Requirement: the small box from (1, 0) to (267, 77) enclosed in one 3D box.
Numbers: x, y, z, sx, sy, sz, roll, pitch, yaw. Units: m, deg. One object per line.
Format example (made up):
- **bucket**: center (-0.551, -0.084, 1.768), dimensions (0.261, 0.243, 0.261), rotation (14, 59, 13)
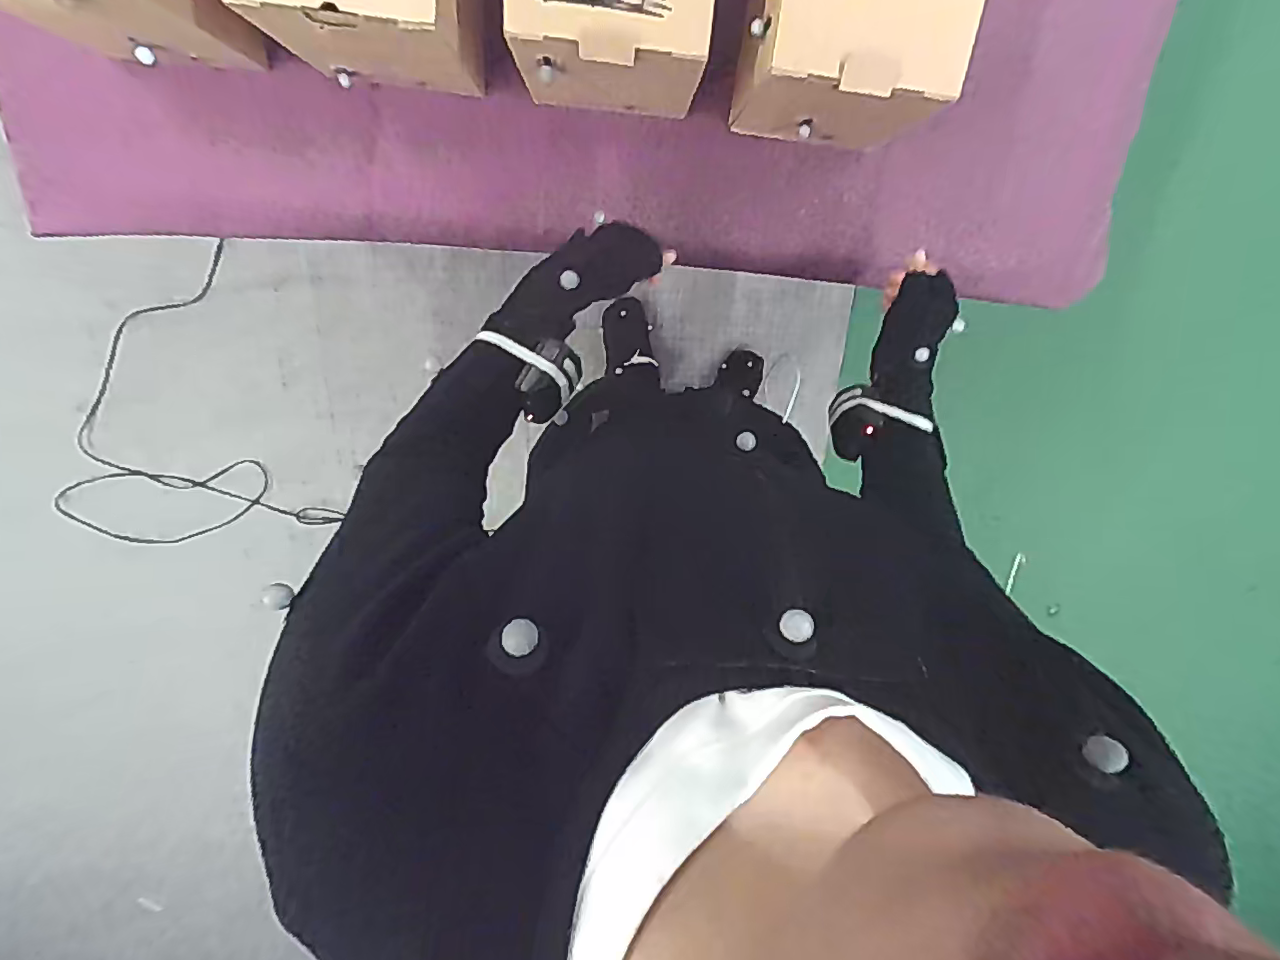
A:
- **small box**: center (-0.456, -0.481, 0.456), dimensions (0.168, 0.176, 0.179), rotation (3, 109, -3)
